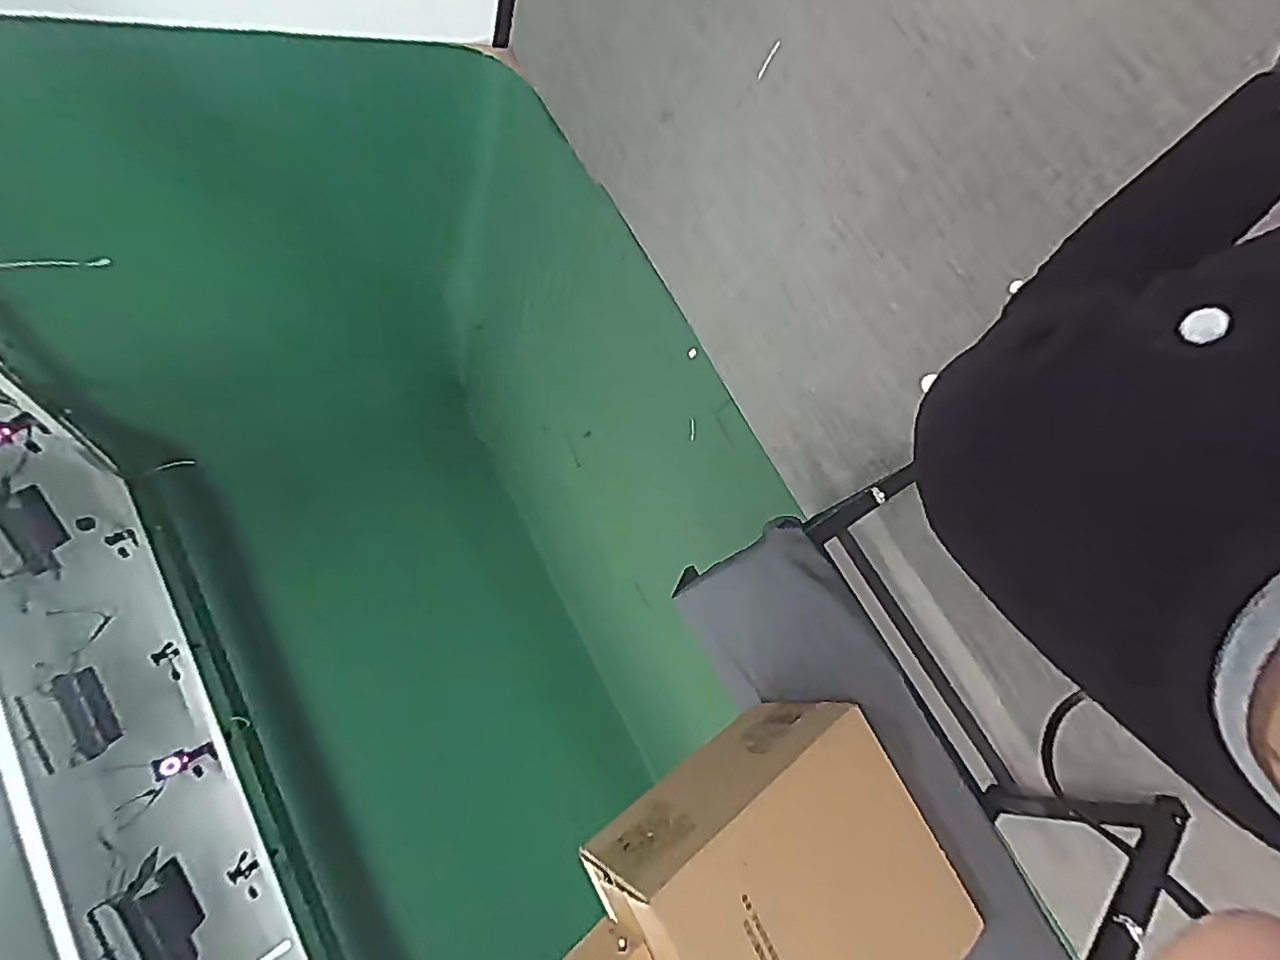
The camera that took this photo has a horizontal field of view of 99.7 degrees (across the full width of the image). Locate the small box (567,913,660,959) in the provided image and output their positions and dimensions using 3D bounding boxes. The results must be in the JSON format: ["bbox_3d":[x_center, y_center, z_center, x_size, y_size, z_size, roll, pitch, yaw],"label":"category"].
[{"bbox_3d":[-0.043,0.969,1.010,0.179,0.176,0.168,61,144,7],"label":"small box"}]
